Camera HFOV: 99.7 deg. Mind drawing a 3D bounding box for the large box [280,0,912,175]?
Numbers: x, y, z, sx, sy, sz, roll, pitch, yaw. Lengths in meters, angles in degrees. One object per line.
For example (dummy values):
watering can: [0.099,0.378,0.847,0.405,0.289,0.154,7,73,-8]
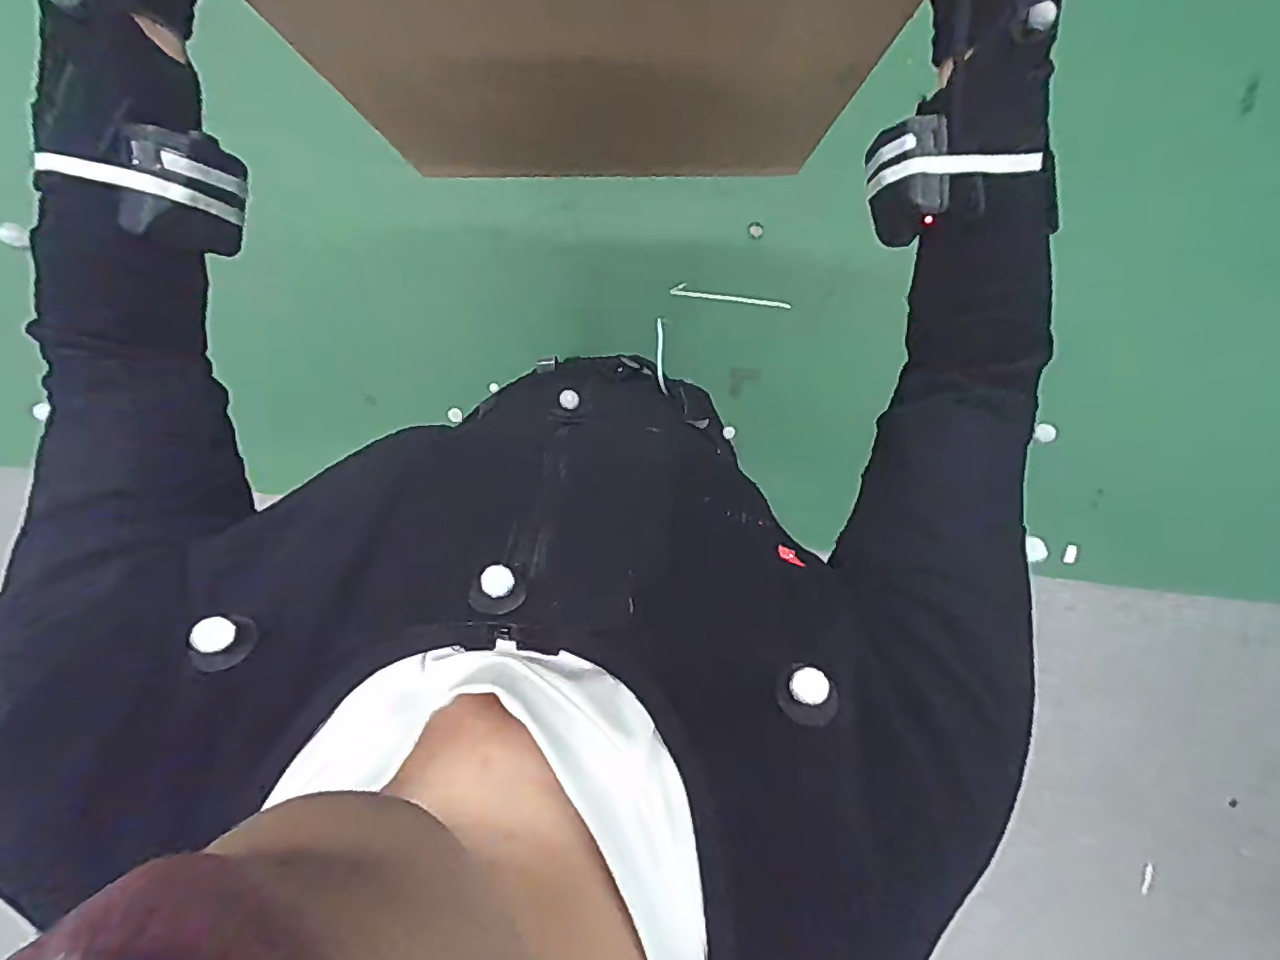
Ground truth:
large box: [-0.030,-0.457,0.410,0.408,0.320,0.320,-1,100,-1]
